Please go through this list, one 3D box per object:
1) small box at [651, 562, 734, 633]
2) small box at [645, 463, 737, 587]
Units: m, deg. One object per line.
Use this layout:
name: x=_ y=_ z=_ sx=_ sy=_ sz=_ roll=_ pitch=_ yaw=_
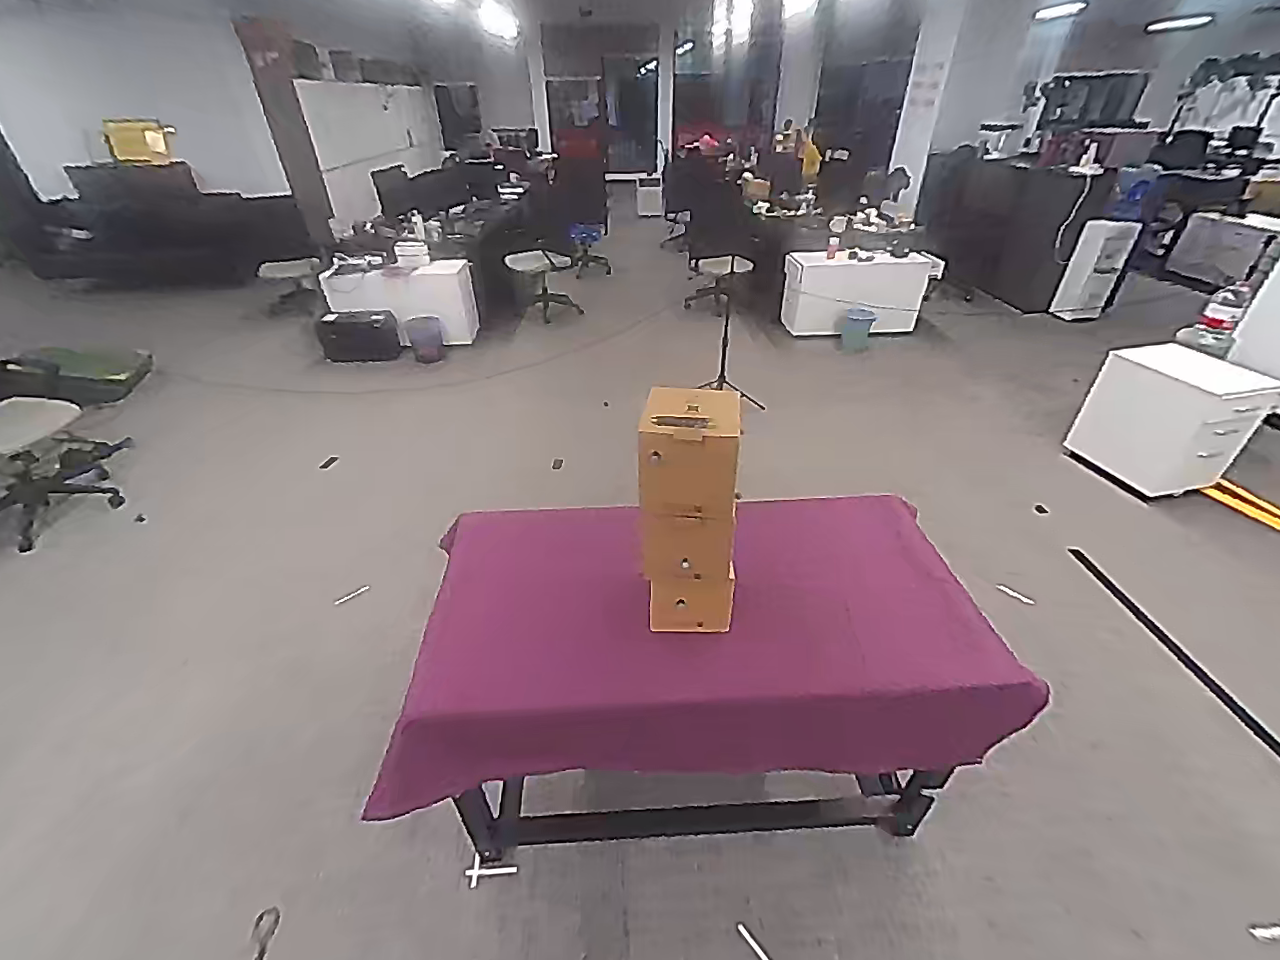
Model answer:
small box: x=0.109 y=0.215 z=1.173 sx=0.168 sy=0.176 sz=0.179 roll=0 pitch=34 yaw=2
small box: x=0.101 y=0.086 z=1.070 sx=0.168 sy=0.176 sz=0.179 roll=4 pitch=35 yaw=7
